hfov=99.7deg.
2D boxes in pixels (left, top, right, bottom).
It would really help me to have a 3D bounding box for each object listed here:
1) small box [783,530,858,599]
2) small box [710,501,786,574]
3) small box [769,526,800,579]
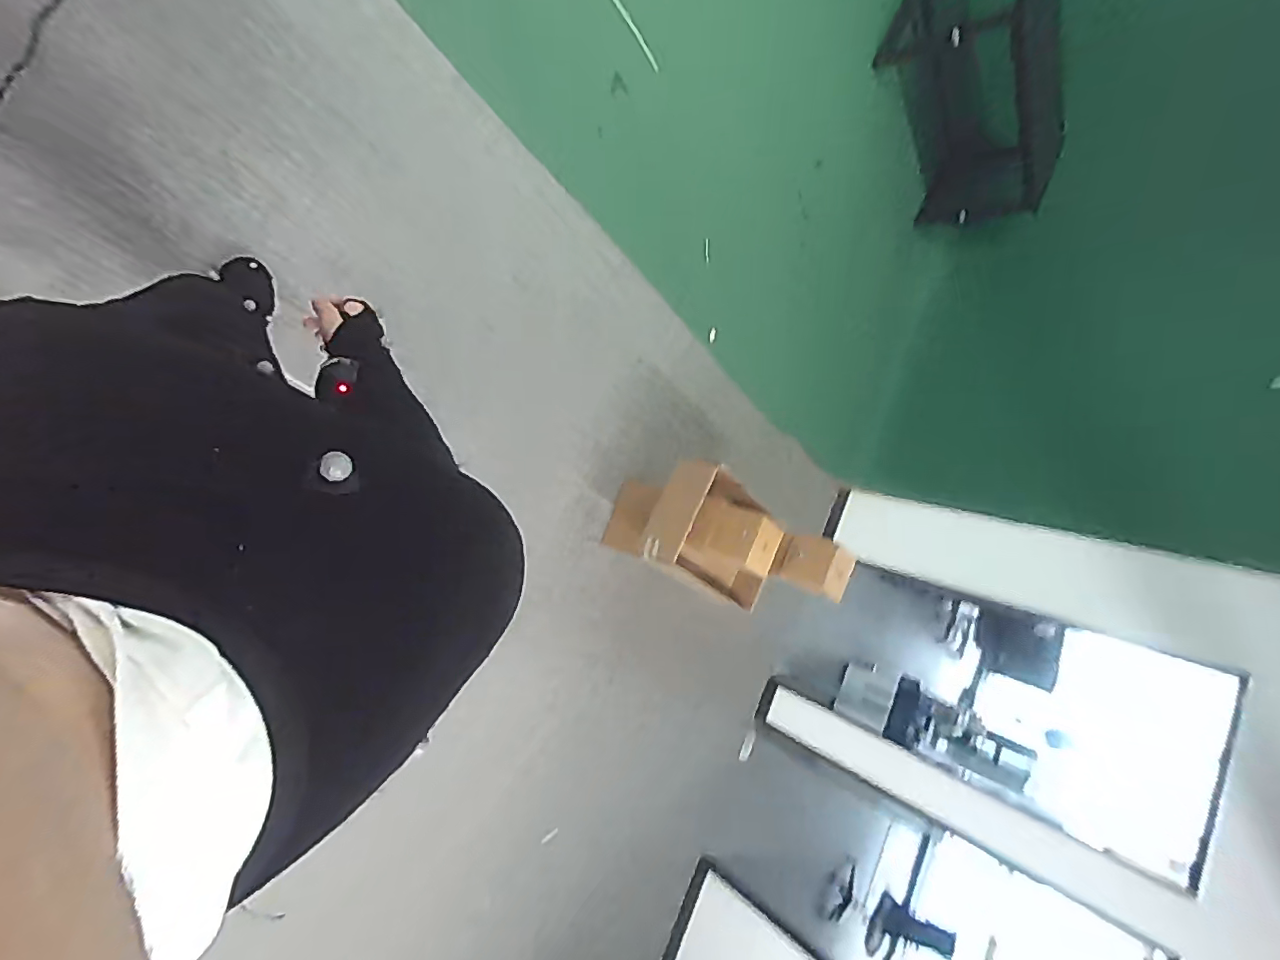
[{"bbox_3d":[0.636,0.293,1.904,0.179,0.176,0.168,39,73,-42],"label":"small box"},{"bbox_3d":[0.363,0.193,1.842,0.168,0.176,0.179,35,76,-46],"label":"small box"},{"bbox_3d":[0.534,0.266,2.032,0.179,0.176,0.168,29,82,-44],"label":"small box"}]
